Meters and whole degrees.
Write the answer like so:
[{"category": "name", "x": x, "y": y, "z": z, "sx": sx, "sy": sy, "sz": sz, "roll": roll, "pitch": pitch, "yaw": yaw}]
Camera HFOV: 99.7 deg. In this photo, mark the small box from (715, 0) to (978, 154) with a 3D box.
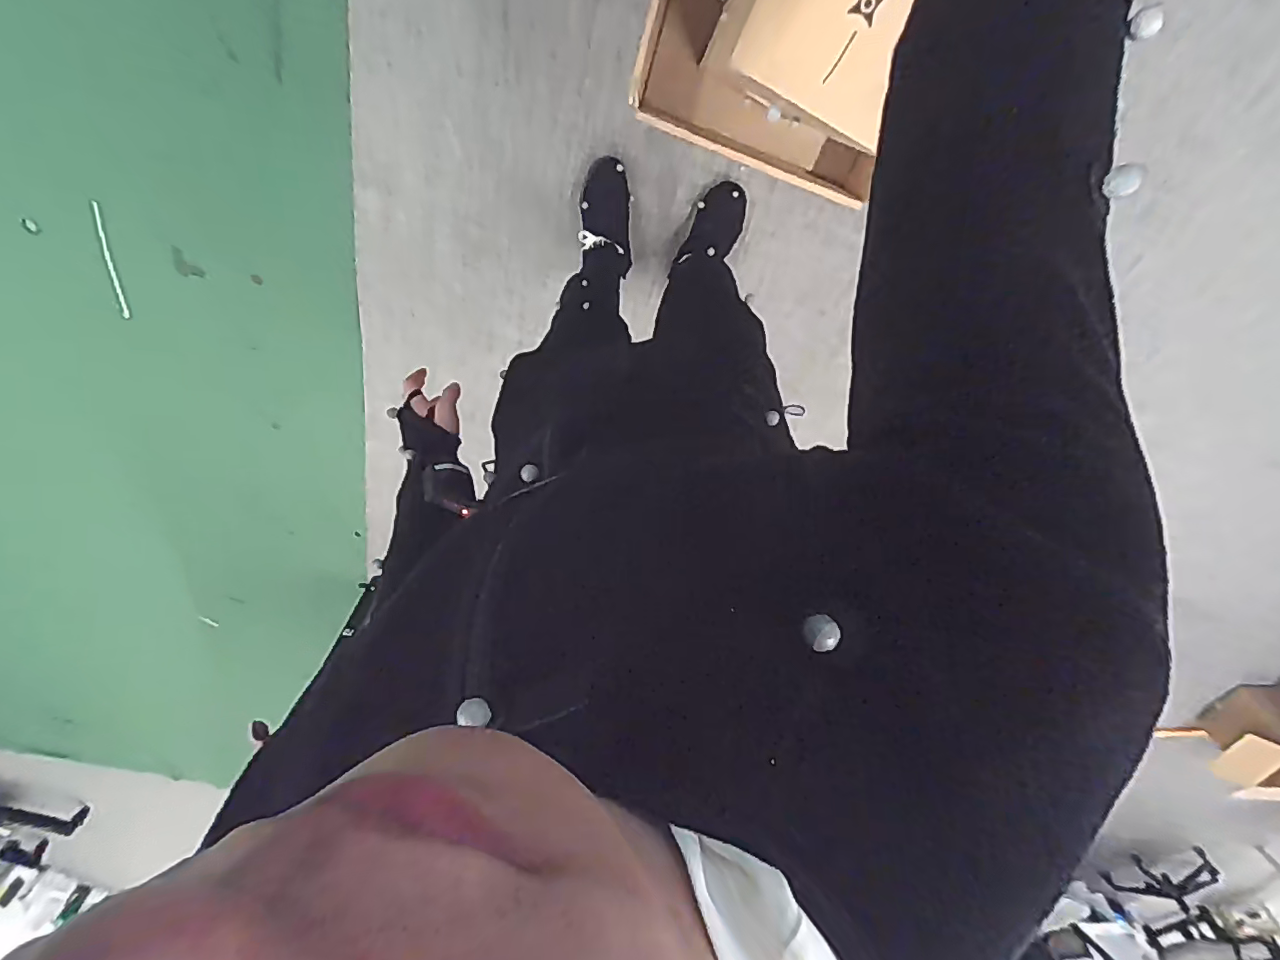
[{"category": "small box", "x": 0.180, "y": -0.434, "z": 0.486, "sx": 0.168, "sy": 0.176, "sz": 0.179, "roll": 21, "pitch": 126, "yaw": -14}]
